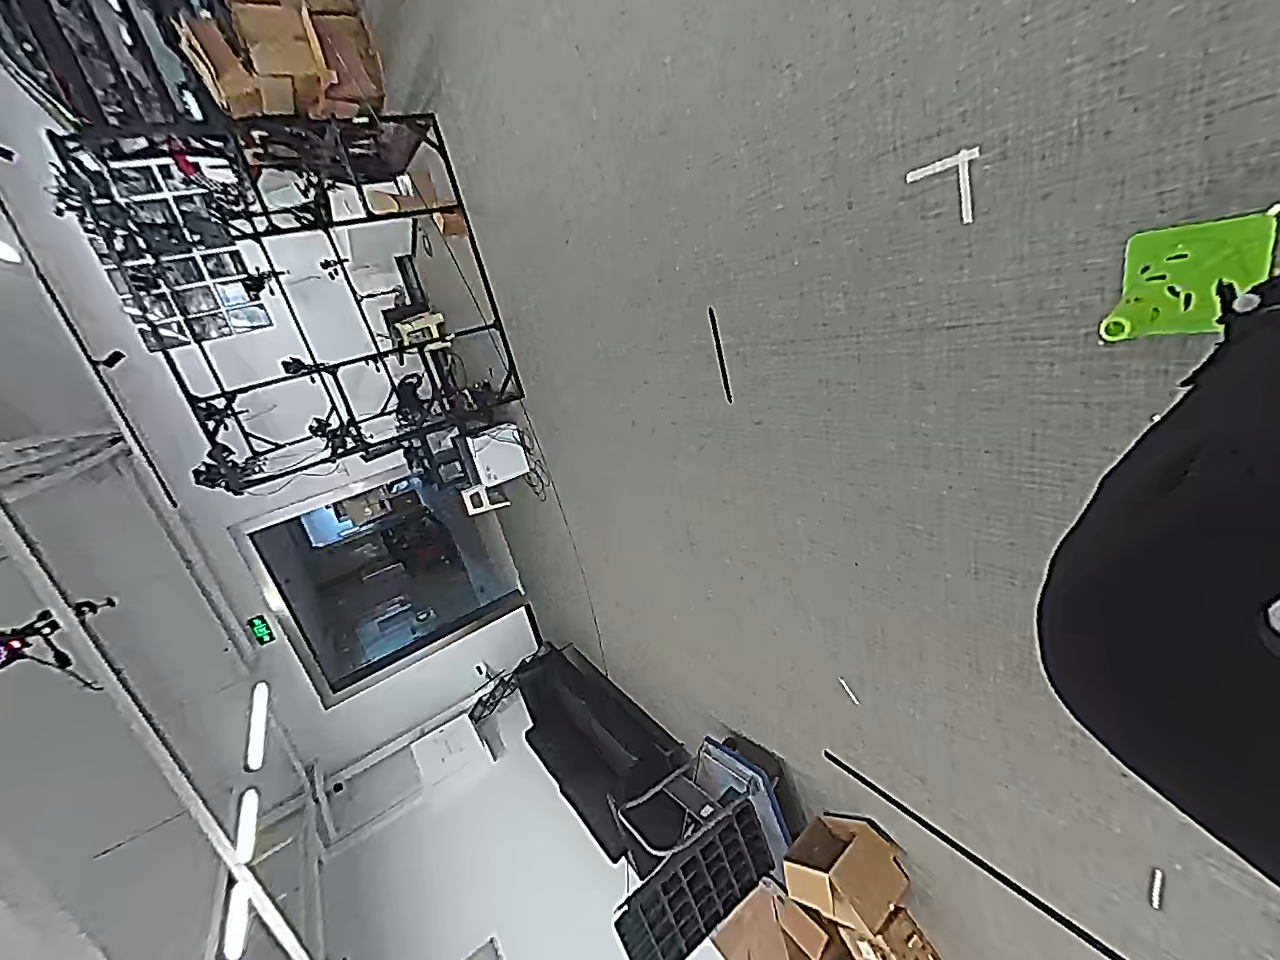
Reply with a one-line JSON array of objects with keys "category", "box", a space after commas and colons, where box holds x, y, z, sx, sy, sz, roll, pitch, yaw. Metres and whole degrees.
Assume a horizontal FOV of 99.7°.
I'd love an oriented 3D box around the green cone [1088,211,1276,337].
[{"category": "green cone", "box": [0.890, -0.319, 0.937, 0.202, 0.368, 0.200, 19, 128, 57]}]
